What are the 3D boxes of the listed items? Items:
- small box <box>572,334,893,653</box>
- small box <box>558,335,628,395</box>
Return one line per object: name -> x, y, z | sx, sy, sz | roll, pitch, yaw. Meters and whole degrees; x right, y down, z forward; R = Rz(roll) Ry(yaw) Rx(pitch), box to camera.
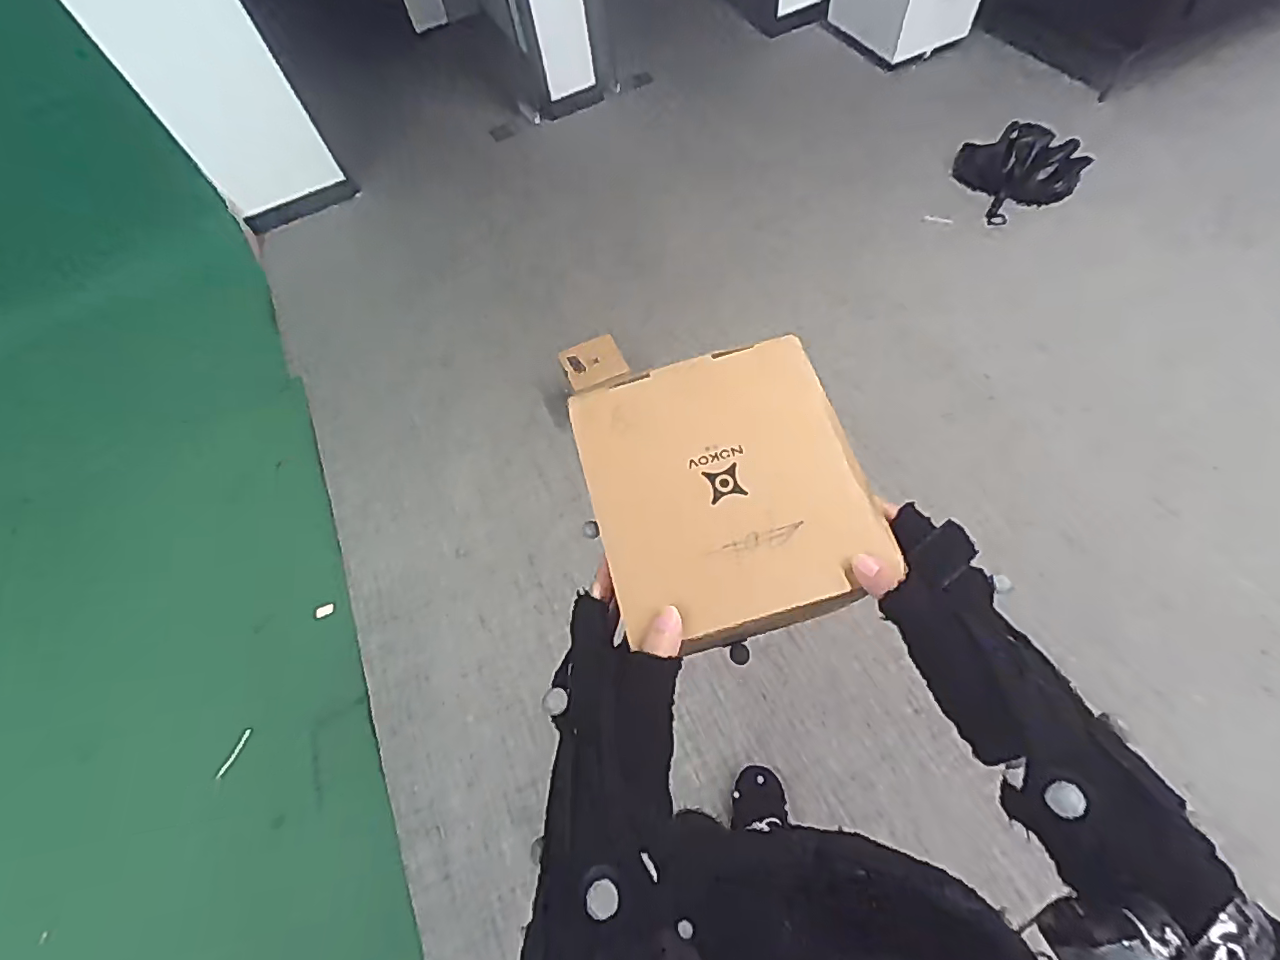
small box -> 0.056, 0.023, 0.421 | 0.168, 0.176, 0.179 | -17, 69, -1
small box -> -0.132, -0.308, 1.676 | 0.179, 0.176, 0.168 | -23, 62, -6
